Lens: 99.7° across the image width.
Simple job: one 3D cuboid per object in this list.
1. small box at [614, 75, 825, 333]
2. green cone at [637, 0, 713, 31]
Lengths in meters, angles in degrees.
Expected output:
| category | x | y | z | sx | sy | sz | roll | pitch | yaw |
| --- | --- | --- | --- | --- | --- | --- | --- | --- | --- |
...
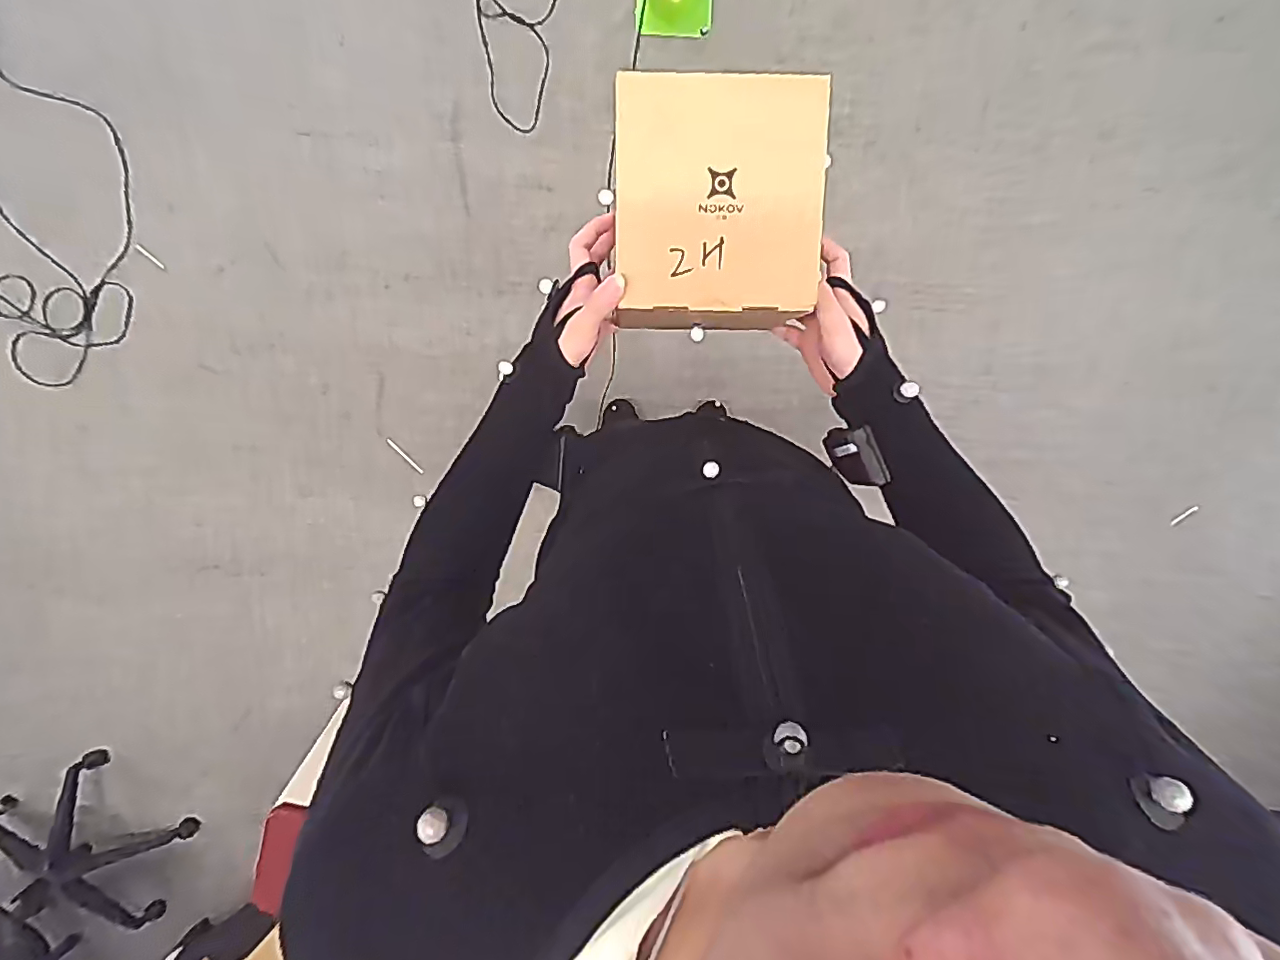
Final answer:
| category | x | y | z | sx | sy | sz | roll | pitch | yaw |
| --- | --- | --- | --- | --- | --- | --- | --- | --- | --- |
| small box | 0.060 | -0.240 | 0.515 | 0.168 | 0.176 | 0.179 | 1 | 101 | -1 |
| green cone | 0.094 | -1.264 | 1.245 | 0.202 | 0.368 | 0.200 | 2 | 99 | 0 |
